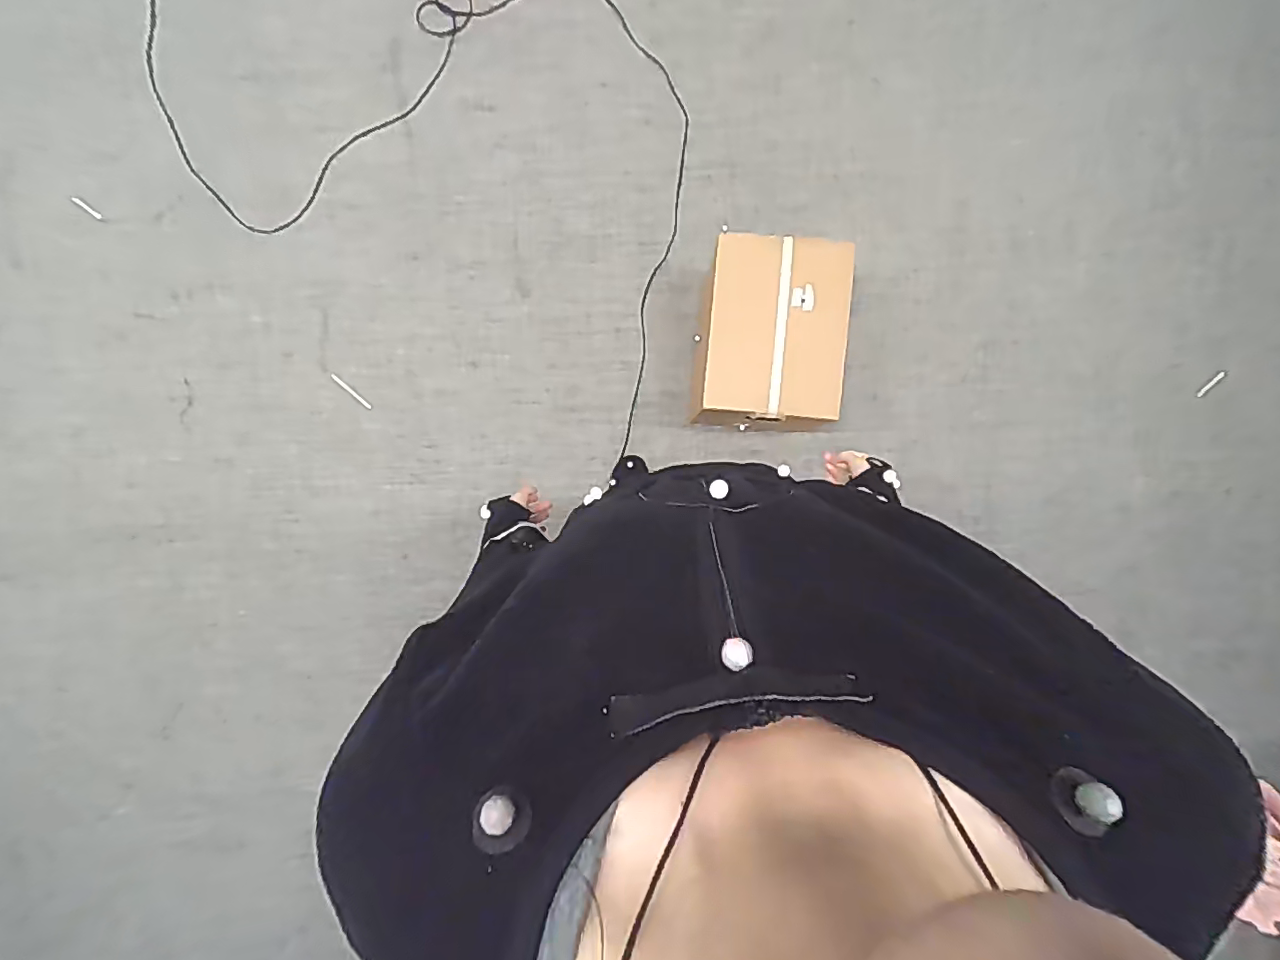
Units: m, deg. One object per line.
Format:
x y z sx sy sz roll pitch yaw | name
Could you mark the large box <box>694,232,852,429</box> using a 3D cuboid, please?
0.313 -0.349 1.367 0.320 0.320 0.408 5 90 0 | large box
